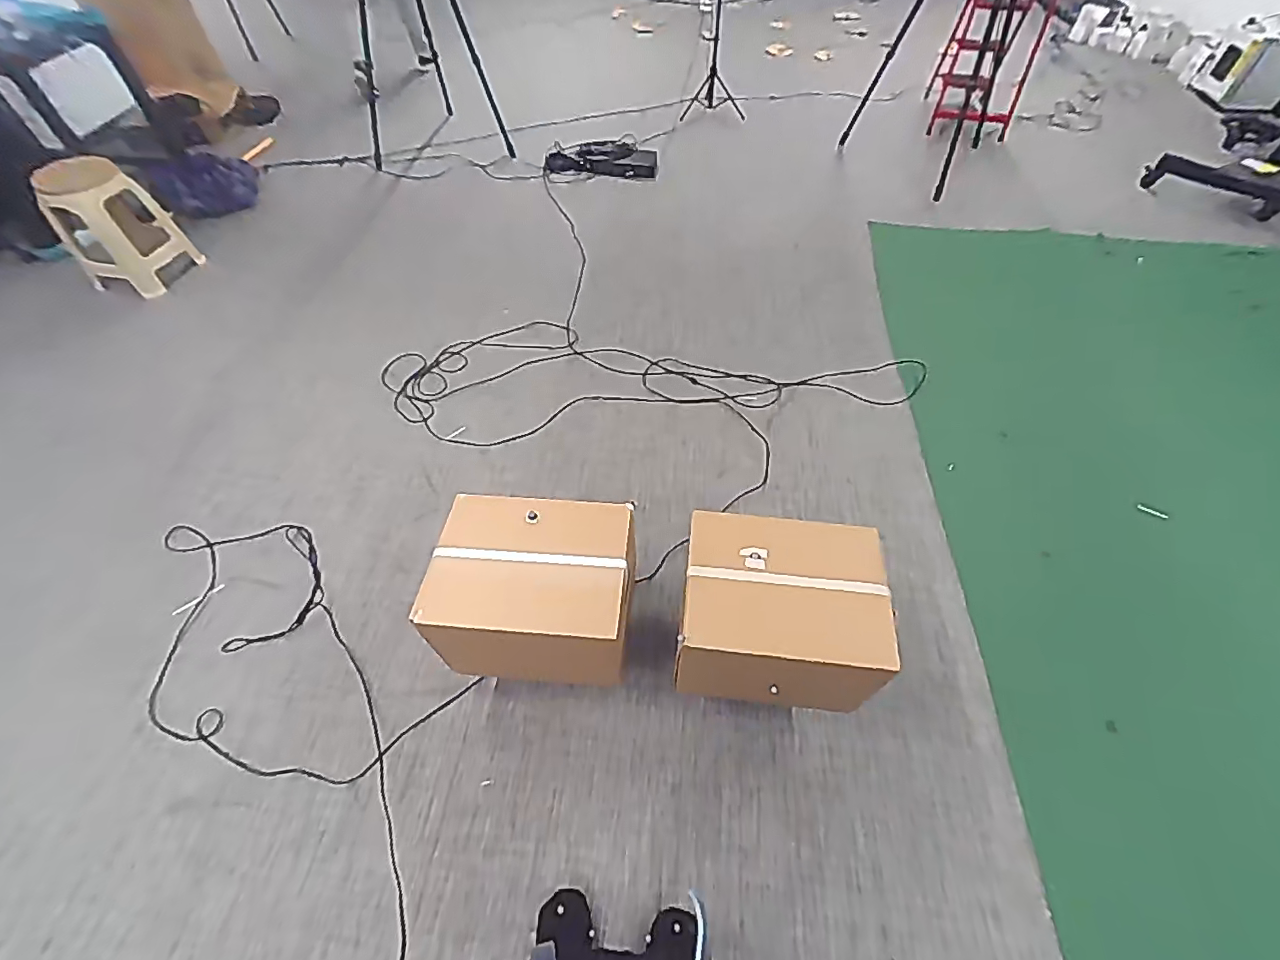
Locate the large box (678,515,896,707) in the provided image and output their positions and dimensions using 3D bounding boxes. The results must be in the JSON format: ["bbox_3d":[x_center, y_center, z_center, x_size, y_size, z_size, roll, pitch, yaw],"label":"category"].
[{"bbox_3d":[0.304,0.304,1.231,0.408,0.320,0.320,5,53,5],"label":"large box"}]
